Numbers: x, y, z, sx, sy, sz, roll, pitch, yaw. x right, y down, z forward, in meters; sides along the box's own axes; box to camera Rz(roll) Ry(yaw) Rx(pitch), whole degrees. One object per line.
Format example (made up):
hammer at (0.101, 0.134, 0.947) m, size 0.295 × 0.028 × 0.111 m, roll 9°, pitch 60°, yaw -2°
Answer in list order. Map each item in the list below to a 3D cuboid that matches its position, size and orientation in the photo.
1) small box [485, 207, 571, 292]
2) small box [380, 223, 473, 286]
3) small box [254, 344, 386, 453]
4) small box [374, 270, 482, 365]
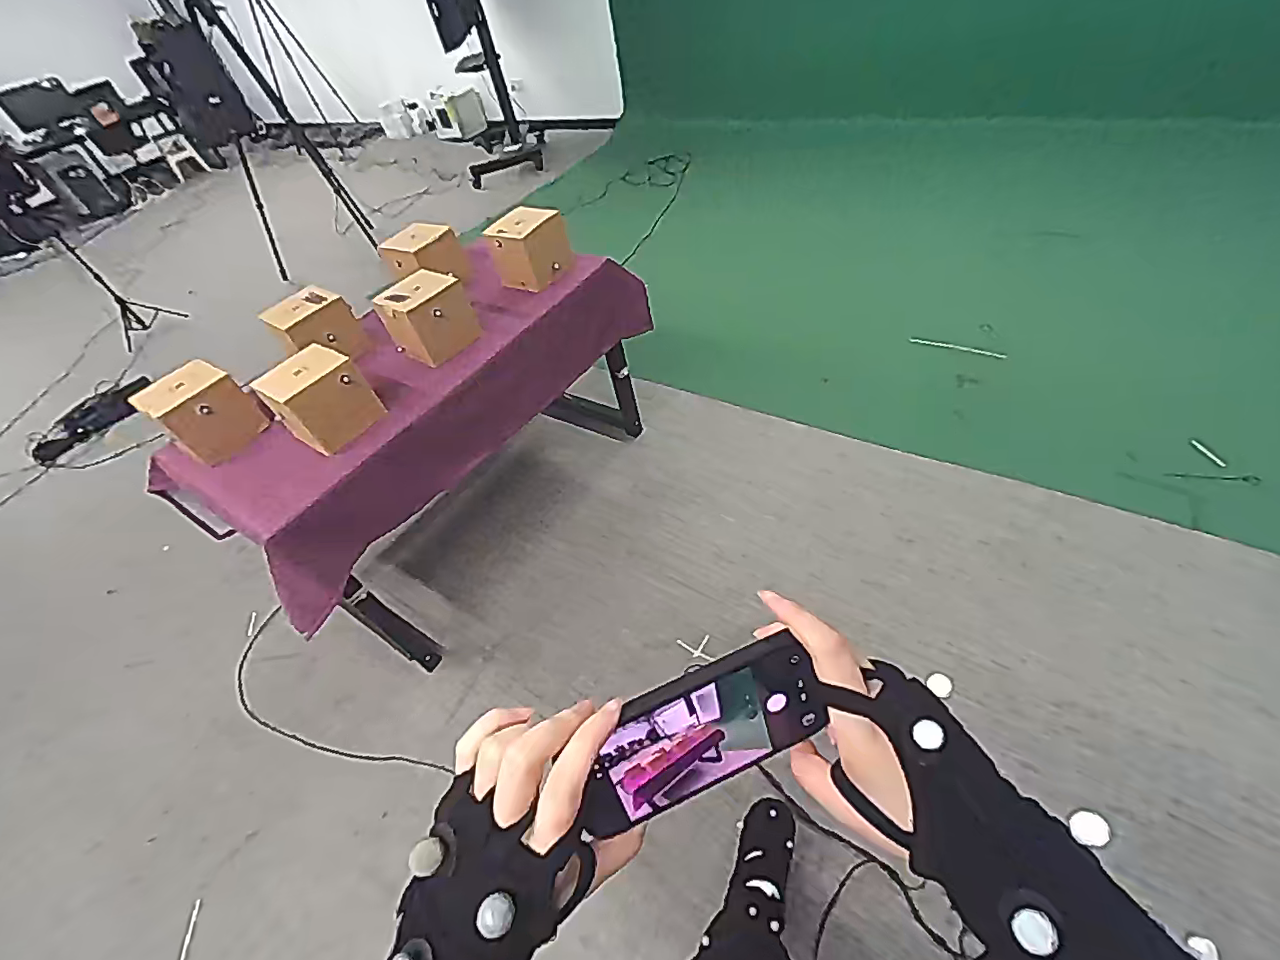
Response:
small box at (-0.327, -0.694, 1.626) m, size 0.168 × 0.176 × 0.179 m, roll 20°, pitch 56°, yaw 29°
small box at (-0.665, -0.684, 1.698) m, size 0.179 × 0.176 × 0.168 m, roll 19°, pitch 56°, yaw 27°
small box at (-0.745, -0.190, 1.275) m, size 0.168 × 0.176 × 0.179 m, roll 23°, pitch 56°, yaw 30°
small box at (-0.561, -0.435, 1.451) m, size 0.168 × 0.176 × 0.179 m, roll 25°, pitch 58°, yaw 31°
